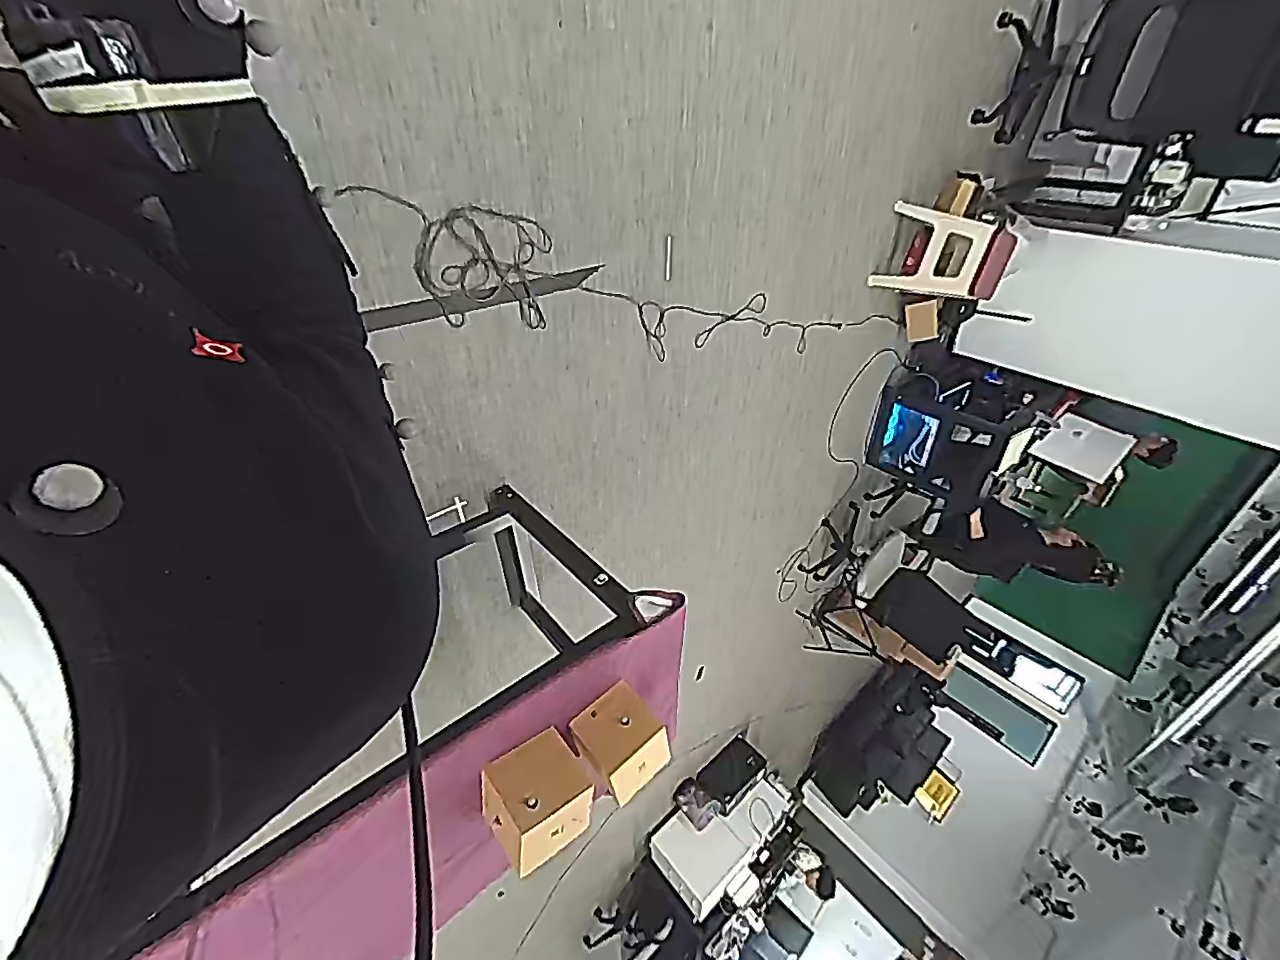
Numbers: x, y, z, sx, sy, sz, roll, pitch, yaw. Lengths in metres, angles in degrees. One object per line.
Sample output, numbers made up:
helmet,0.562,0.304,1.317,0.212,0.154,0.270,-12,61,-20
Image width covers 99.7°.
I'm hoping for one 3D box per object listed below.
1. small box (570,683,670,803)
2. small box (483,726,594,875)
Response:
small box,-0.048,0.621,1.298,0.168,0.176,0.179,-33,136,-26
small box,-0.222,0.674,1.153,0.179,0.176,0.168,-18,129,-38
